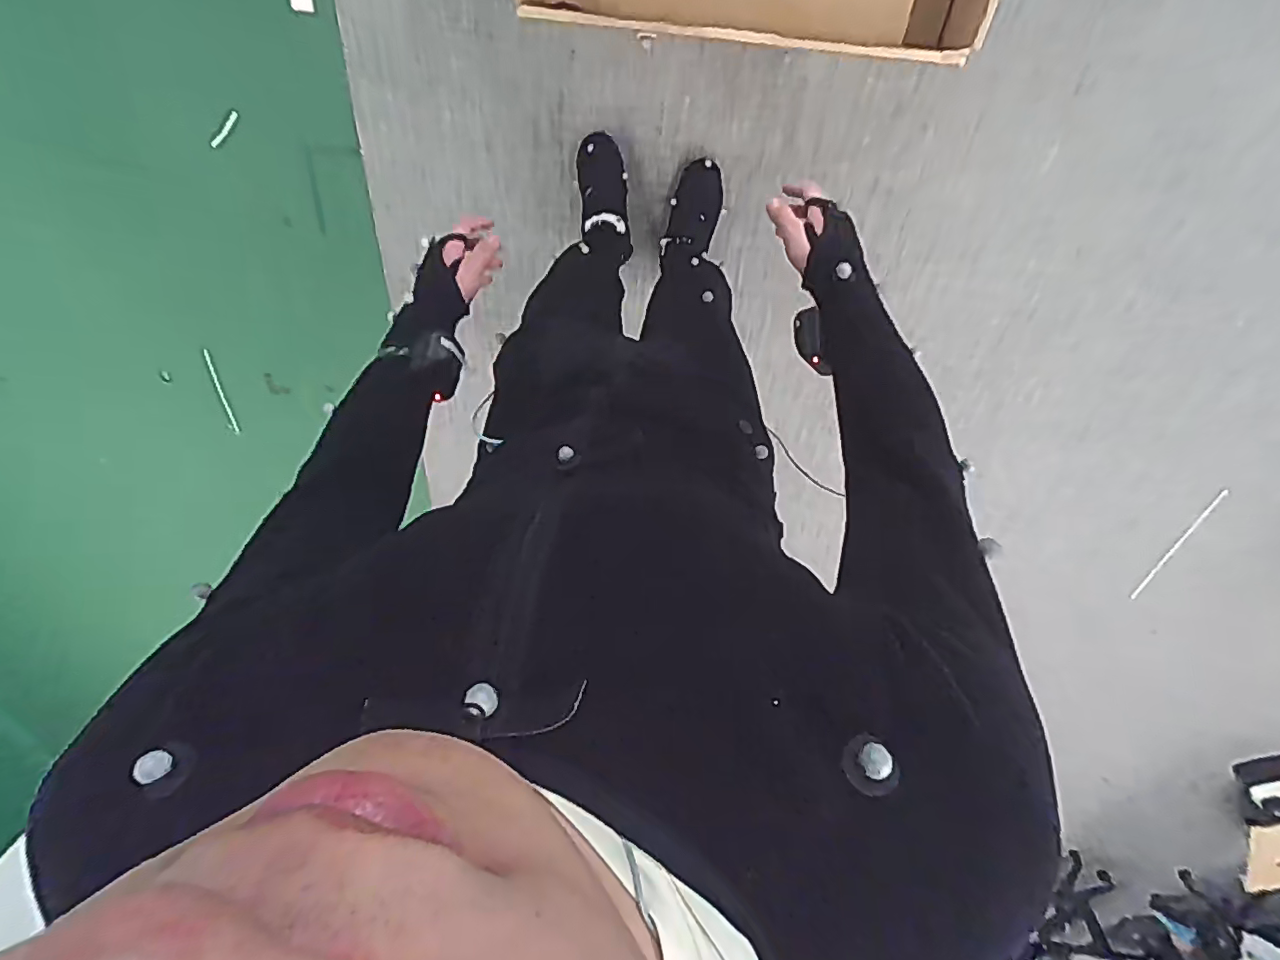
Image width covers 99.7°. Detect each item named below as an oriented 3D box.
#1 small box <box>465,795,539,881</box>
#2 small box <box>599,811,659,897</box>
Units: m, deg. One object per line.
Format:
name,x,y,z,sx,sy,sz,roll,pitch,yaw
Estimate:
small box,-0.421,1.107,1.680,0.179,0.176,0.168,6,127,2
small box,-0.033,1.147,1.663,0.168,0.176,0.179,5,127,3
